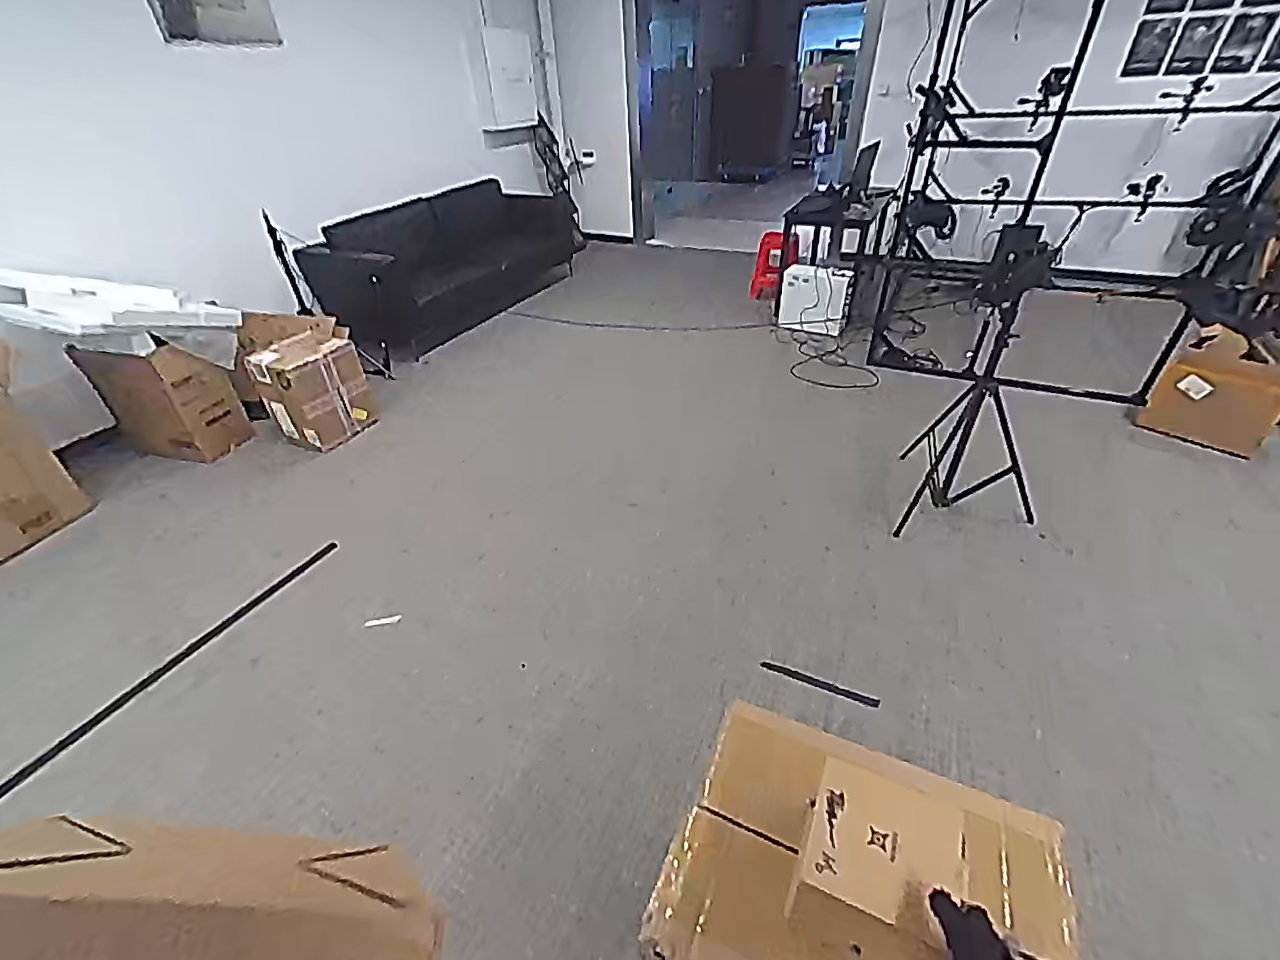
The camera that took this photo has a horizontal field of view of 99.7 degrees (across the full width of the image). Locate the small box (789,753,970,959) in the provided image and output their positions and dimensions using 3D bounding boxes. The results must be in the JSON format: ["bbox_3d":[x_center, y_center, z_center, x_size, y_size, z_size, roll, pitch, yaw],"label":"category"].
[{"bbox_3d":[0.310,0.508,0.714,0.179,0.176,0.168,15,41,22],"label":"small box"}]
